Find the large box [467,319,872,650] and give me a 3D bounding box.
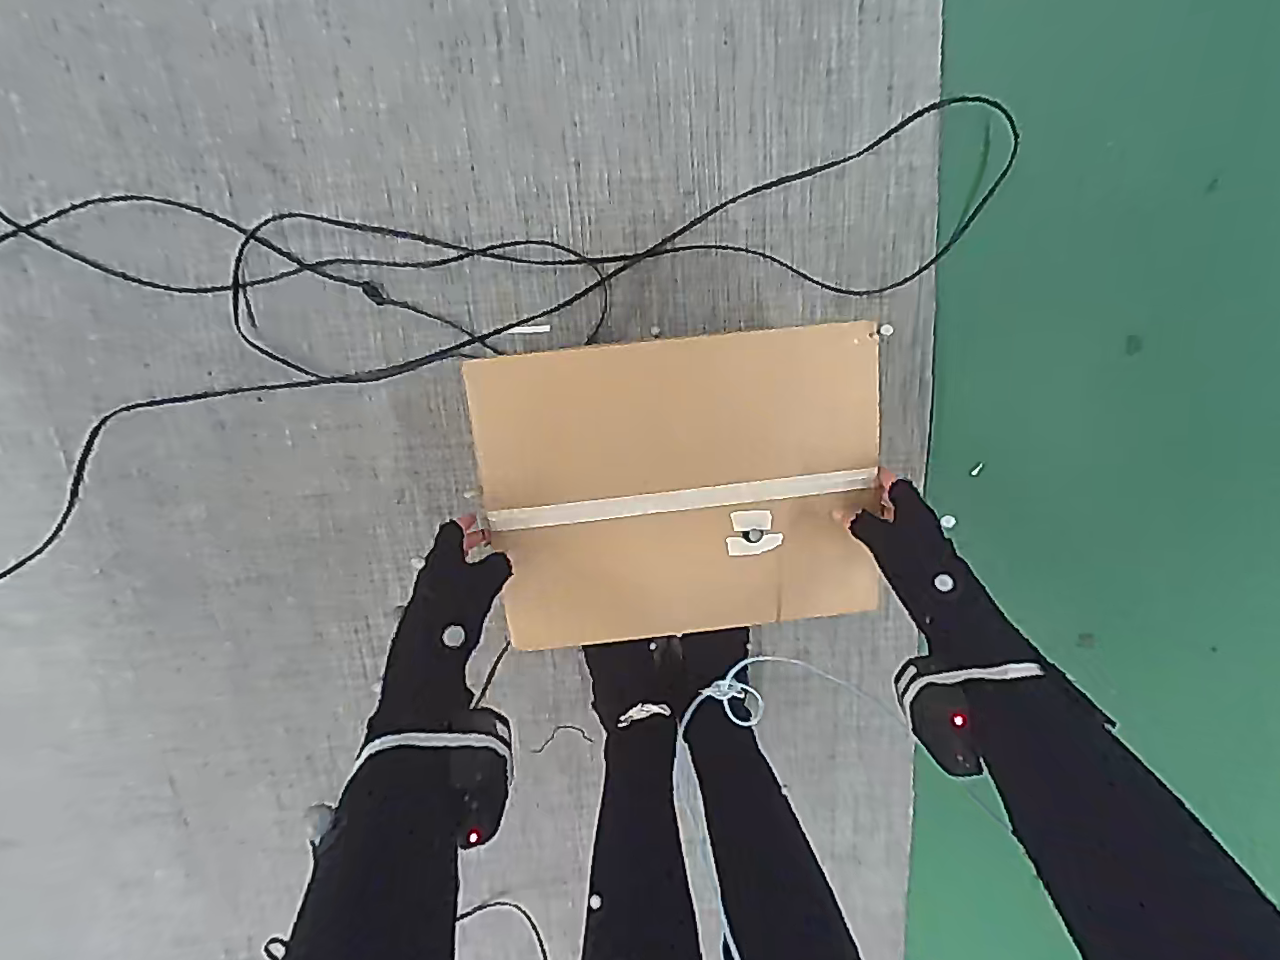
[{"bbox_3d":[0.035,-0.019,0.707,0.408,0.320,0.320,-7,105,-2],"label":"large box"}]
